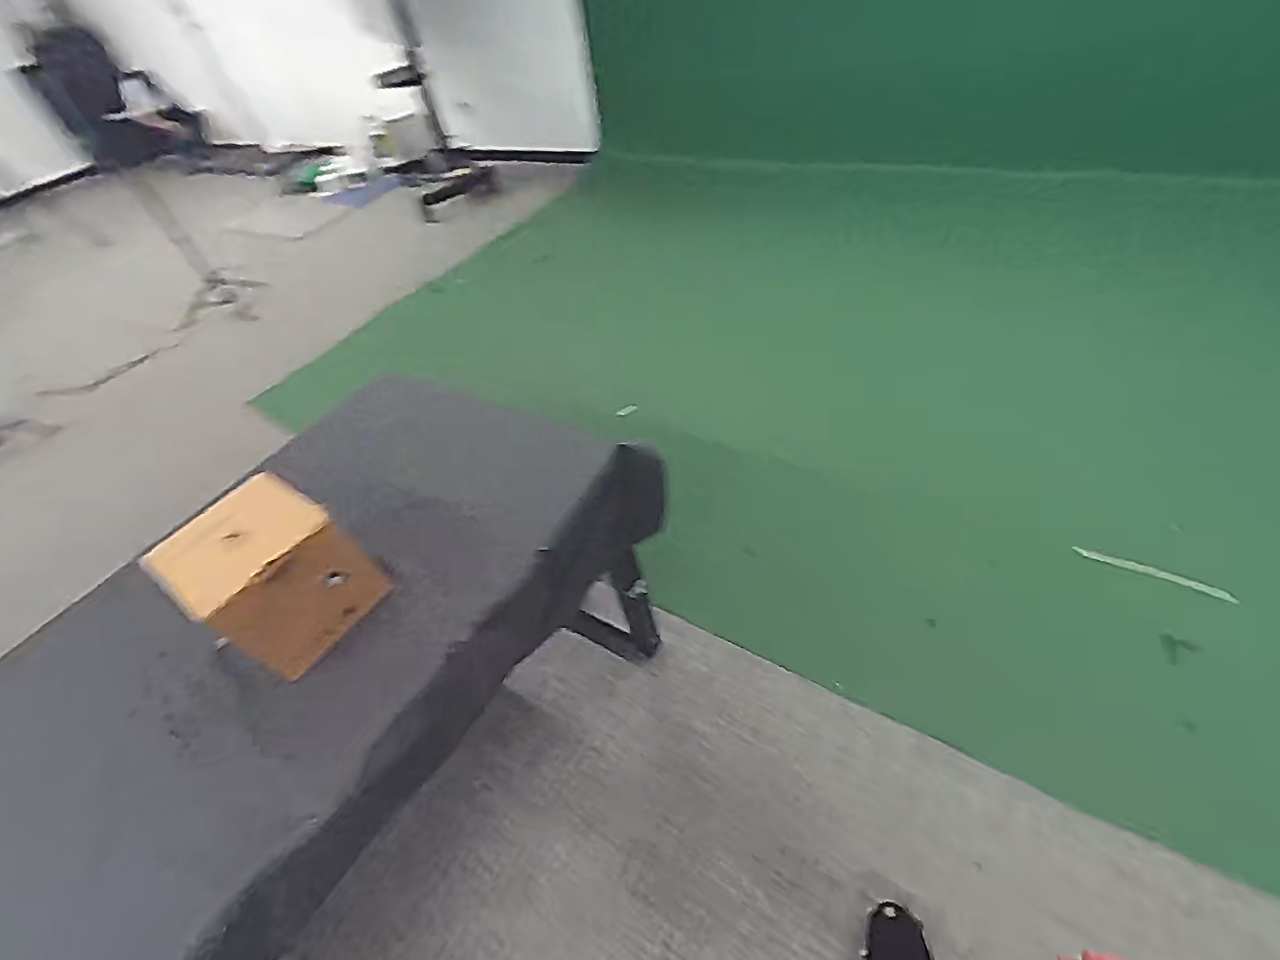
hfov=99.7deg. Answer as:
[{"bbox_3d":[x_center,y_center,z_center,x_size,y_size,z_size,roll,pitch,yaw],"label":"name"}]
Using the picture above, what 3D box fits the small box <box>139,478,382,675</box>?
[{"bbox_3d":[-0.487,0.131,0.719,0.179,0.176,0.168,20,54,29],"label":"small box"}]
